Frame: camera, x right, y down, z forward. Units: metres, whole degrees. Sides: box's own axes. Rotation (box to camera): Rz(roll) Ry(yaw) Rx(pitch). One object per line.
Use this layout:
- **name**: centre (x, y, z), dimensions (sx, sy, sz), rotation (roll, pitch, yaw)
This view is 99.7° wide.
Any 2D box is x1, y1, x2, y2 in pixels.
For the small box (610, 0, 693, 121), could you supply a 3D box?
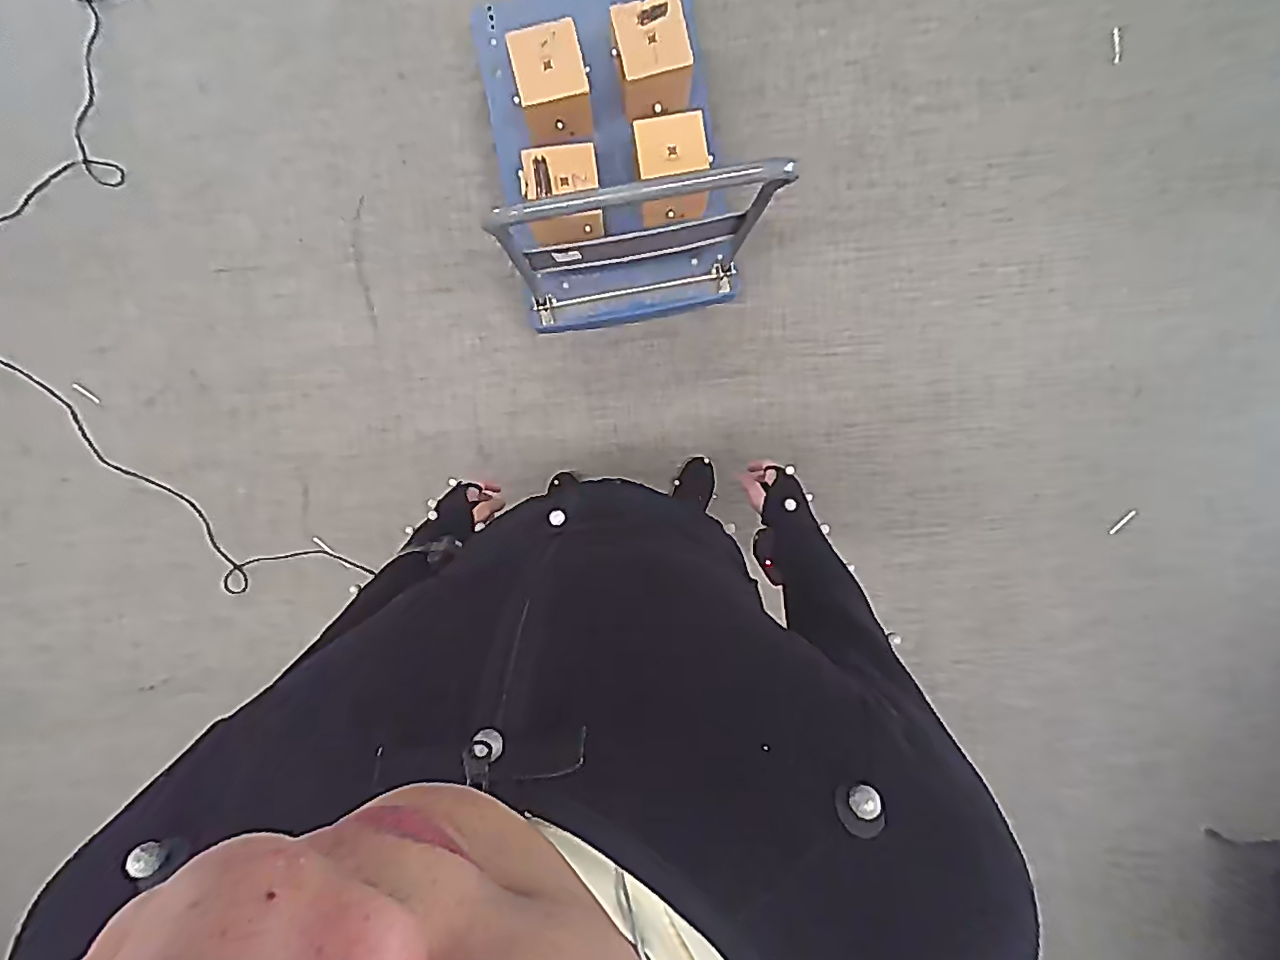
- **small box**: centre (0.026, -1.039, 1.334), dimensions (0.168, 0.176, 0.179), rotation (-14, 94, 1)

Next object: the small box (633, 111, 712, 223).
- **small box**: centre (0.075, -0.773, 1.349), dimensions (0.168, 0.176, 0.179), rotation (-9, 93, 0)

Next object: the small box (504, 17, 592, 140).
- **small box**: centre (-0.219, -0.977, 1.337), dimensions (0.168, 0.176, 0.179), rotation (-13, 92, 0)
